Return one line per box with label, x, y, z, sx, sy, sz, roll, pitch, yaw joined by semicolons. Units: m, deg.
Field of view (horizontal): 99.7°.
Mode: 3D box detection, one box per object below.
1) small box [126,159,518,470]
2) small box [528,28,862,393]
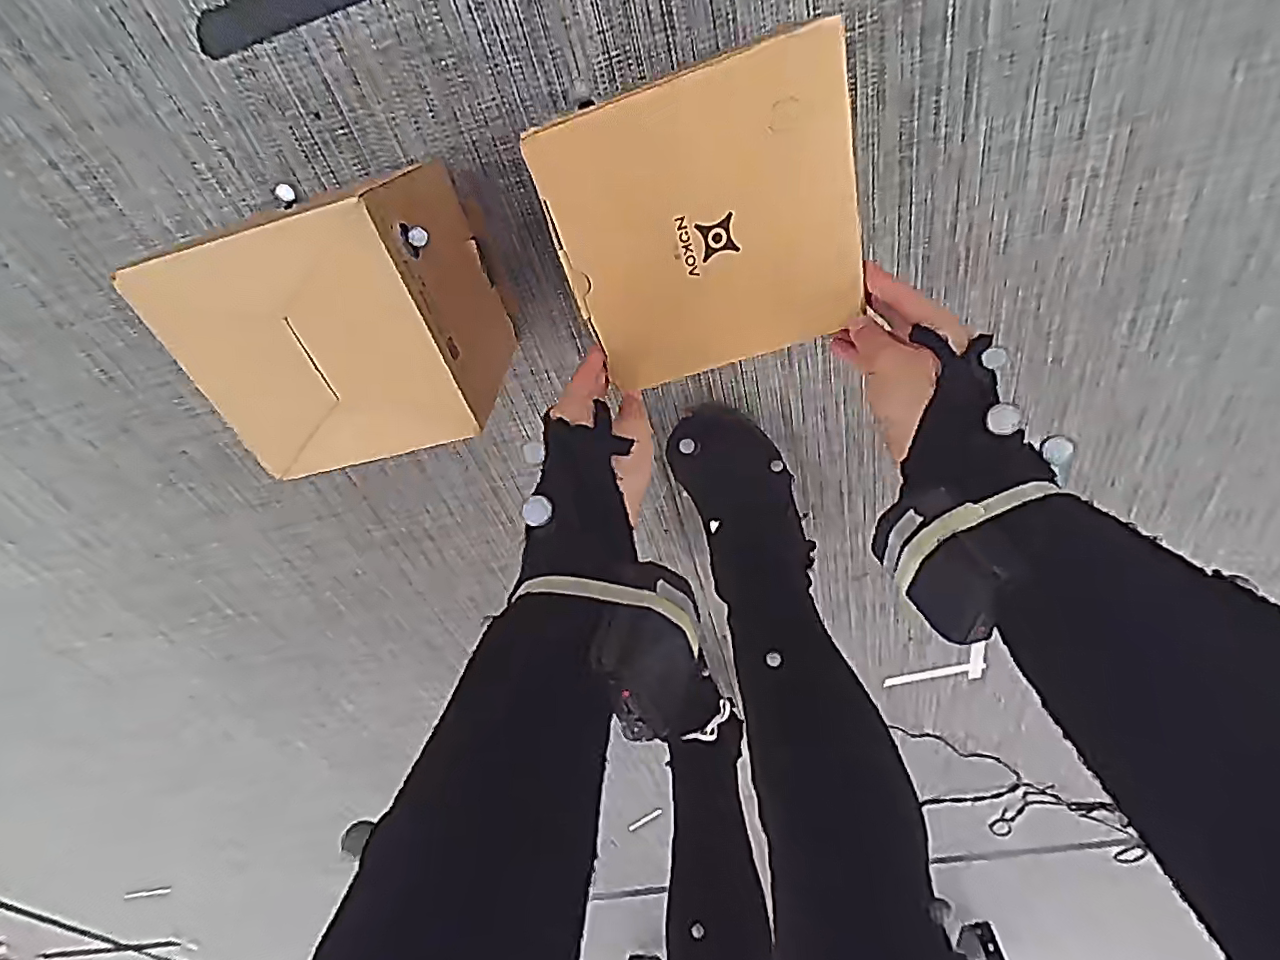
small box;-0.219;-0.128;0.427;0.179;0.176;0.168;-12;126;7
small box;0.040;-0.193;0.391;0.179;0.176;0.168;-15;126;10
